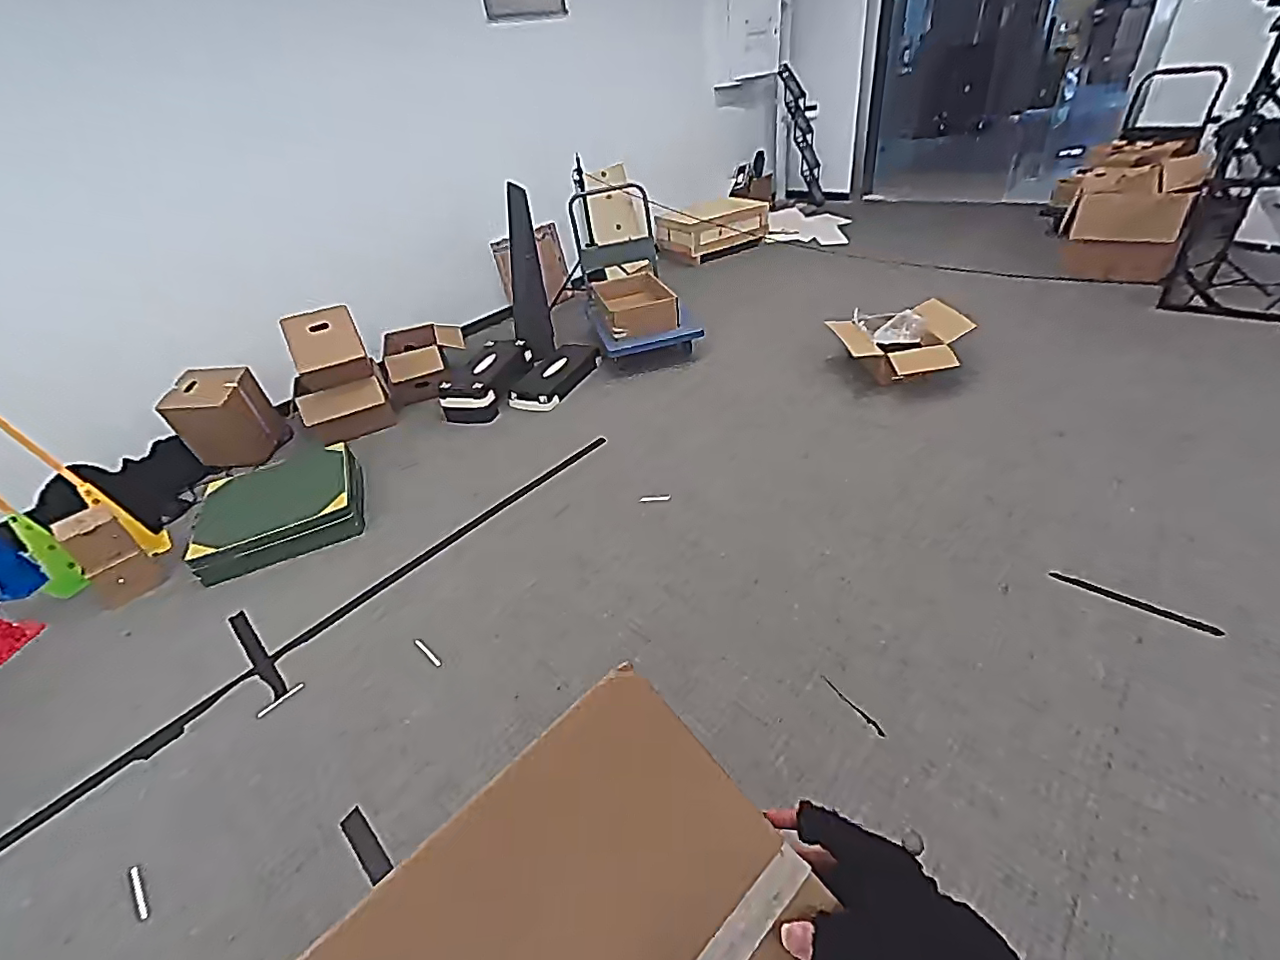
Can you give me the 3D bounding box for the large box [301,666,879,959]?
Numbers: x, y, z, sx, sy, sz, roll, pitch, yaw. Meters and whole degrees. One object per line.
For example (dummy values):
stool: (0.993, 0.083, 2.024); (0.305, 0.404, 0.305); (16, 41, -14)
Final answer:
large box: (-0.072, 0.415, 0.387); (0.408, 0.320, 0.320); (-37, 73, -24)
